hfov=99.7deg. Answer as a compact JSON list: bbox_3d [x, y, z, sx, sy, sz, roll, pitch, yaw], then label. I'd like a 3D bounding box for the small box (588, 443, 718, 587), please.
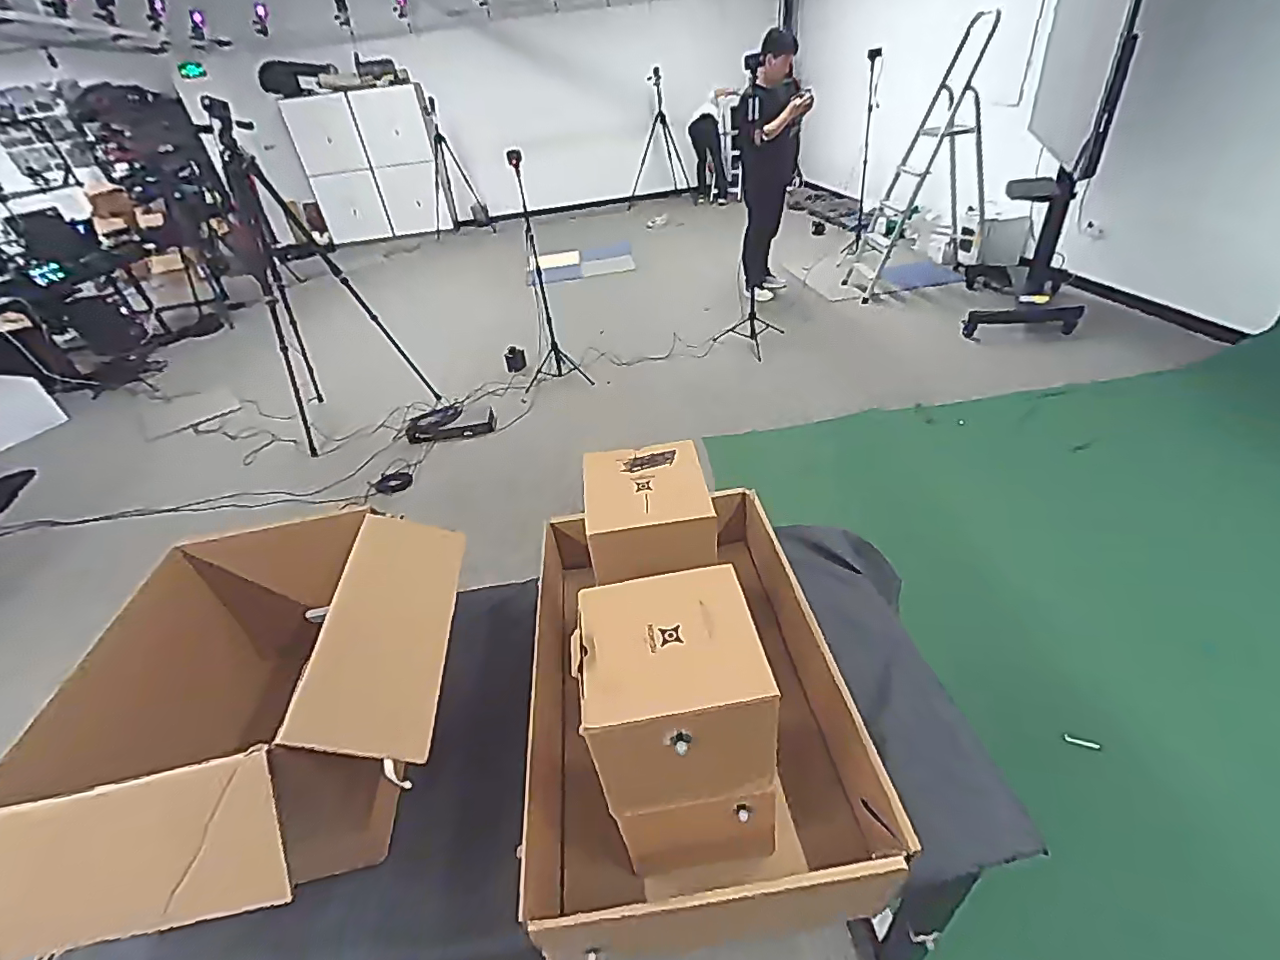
[{"bbox_3d":[0.016,0.069,0.788,0.168,0.176,0.179,-7,39,-1],"label":"small box"}]

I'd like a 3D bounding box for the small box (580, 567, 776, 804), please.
[{"bbox_3d":[0.037,0.222,0.585,0.179,0.176,0.168,-9,37,-2],"label":"small box"}]
